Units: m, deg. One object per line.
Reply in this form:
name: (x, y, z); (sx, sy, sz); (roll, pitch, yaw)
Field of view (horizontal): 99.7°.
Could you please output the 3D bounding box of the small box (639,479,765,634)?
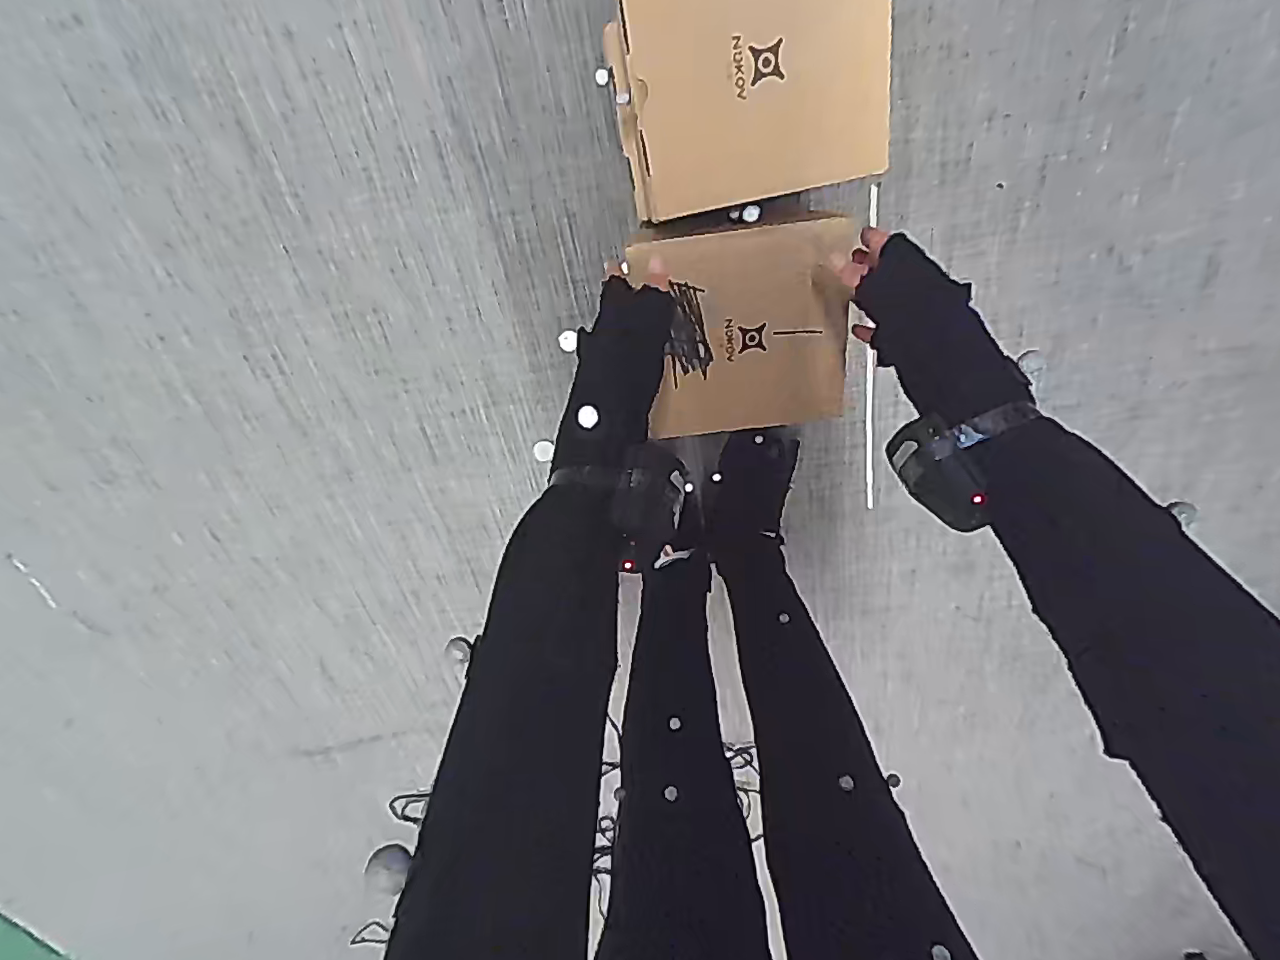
small box: (0.091, 0.119, 0.878); (0.168, 0.176, 0.179); (-6, 119, -6)
